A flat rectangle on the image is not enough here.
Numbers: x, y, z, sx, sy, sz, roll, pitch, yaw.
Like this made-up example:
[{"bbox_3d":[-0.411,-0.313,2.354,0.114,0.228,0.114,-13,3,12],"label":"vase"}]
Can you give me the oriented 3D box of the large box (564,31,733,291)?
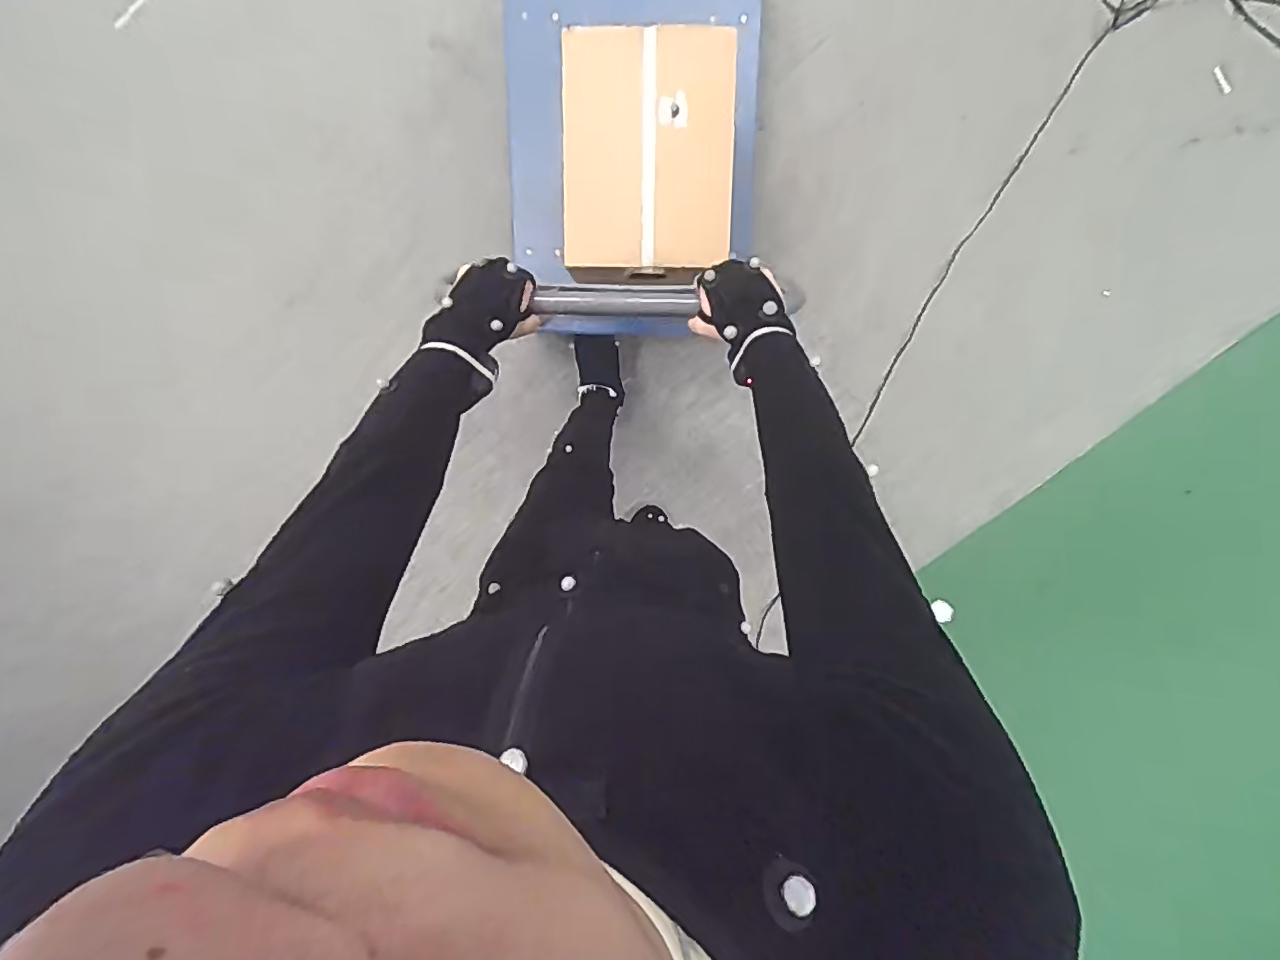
[{"bbox_3d":[0.018,-0.636,1.155,0.320,0.320,0.408,1,100,0],"label":"large box"}]
